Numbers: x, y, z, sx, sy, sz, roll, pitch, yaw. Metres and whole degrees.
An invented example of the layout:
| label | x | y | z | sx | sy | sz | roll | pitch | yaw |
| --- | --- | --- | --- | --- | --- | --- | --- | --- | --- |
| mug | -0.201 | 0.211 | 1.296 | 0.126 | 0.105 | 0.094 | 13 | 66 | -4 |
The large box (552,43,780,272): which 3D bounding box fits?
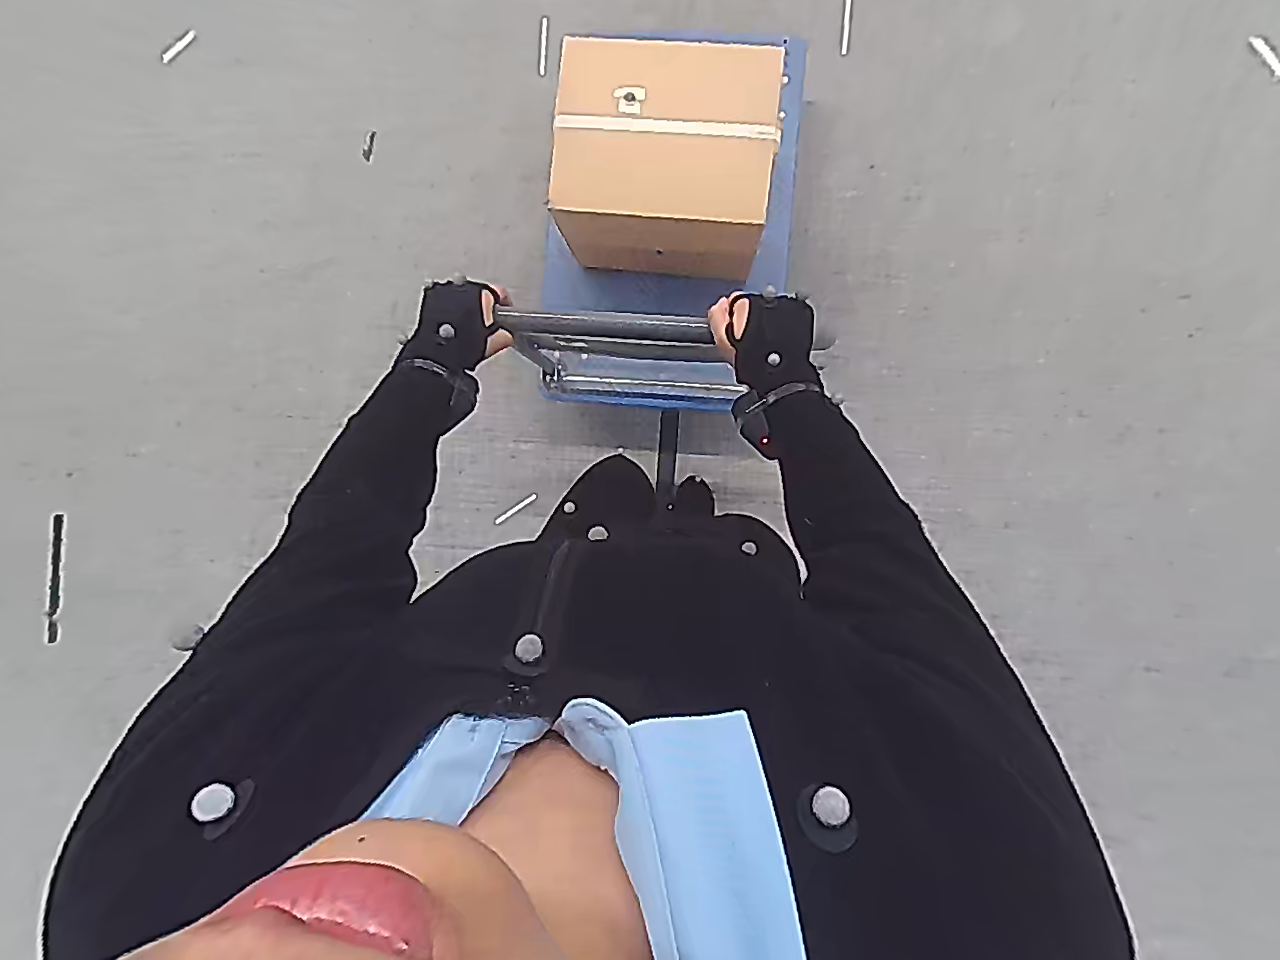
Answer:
| label | x | y | z | sx | sy | sz | roll | pitch | yaw |
| --- | --- | --- | --- | --- | --- | --- | --- | --- | --- |
| large box | 0.059 | -0.650 | 1.142 | 0.408 | 0.320 | 0.320 | 6 | 92 | 5 |
